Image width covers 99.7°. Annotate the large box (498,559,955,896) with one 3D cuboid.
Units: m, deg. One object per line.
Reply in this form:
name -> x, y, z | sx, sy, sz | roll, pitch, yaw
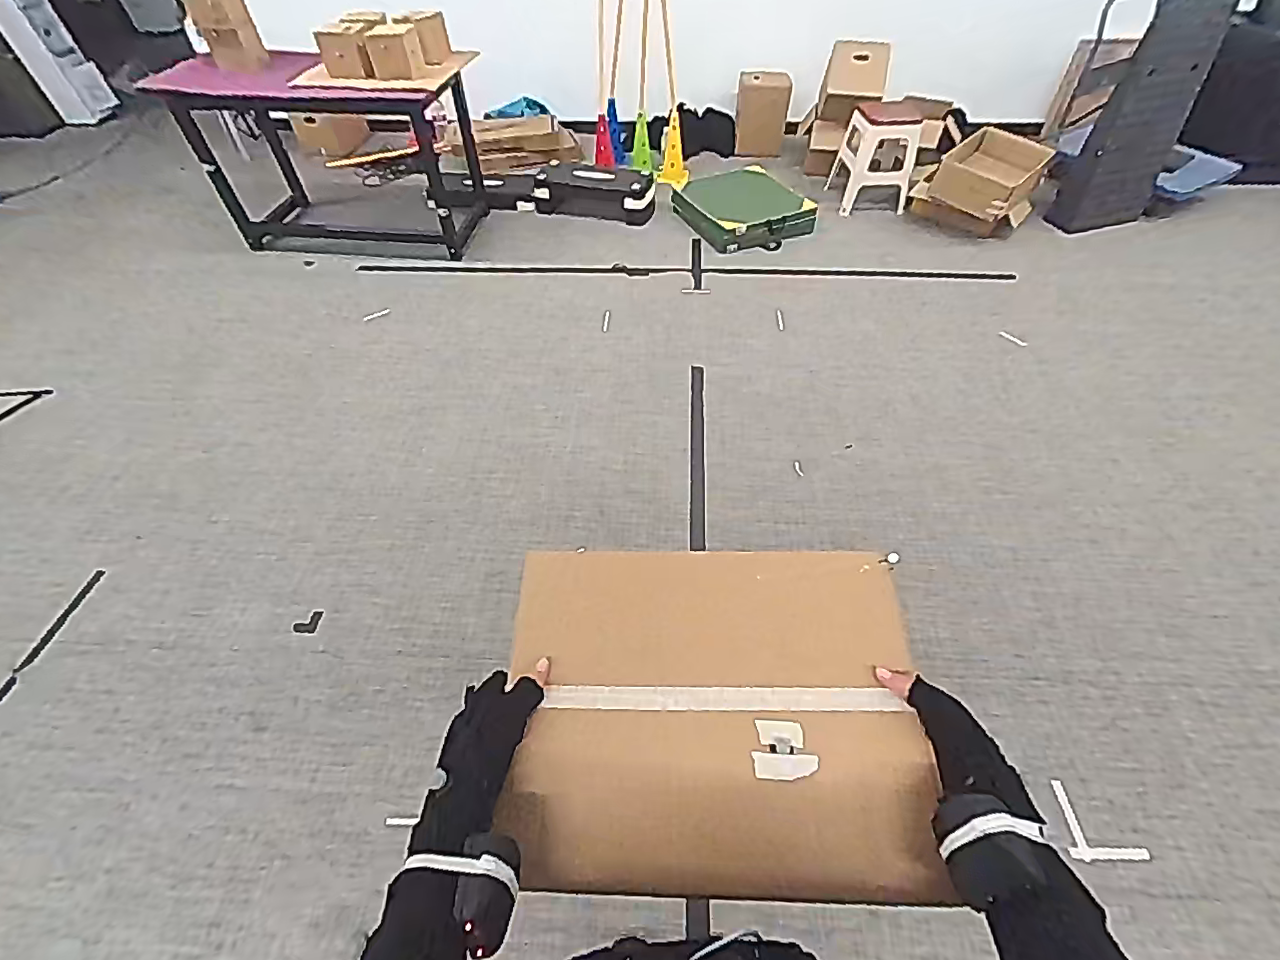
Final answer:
large box -> 0.078, 0.302, 0.669 | 0.408, 0.320, 0.320 | 0, 59, 3
